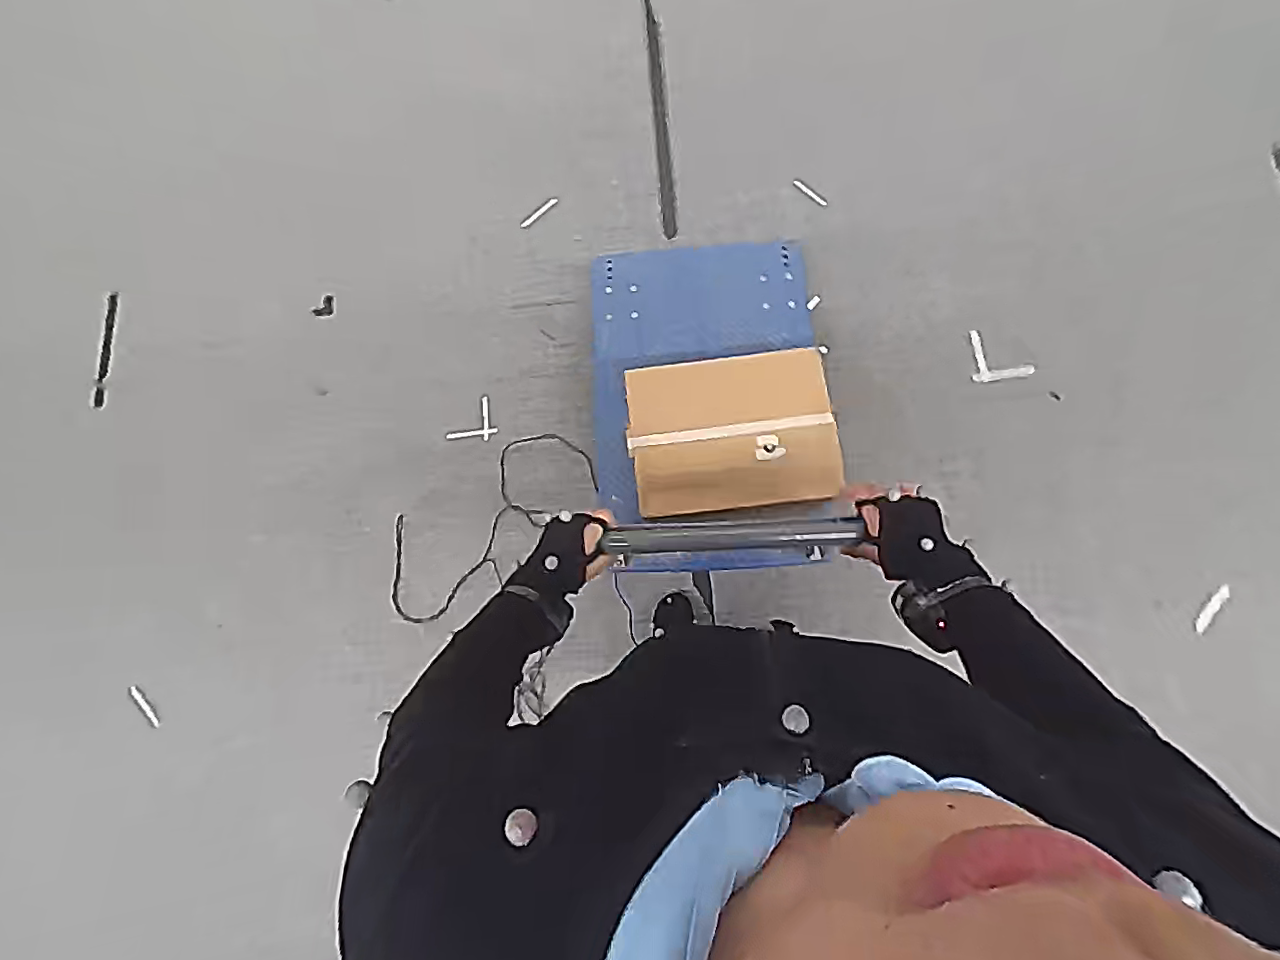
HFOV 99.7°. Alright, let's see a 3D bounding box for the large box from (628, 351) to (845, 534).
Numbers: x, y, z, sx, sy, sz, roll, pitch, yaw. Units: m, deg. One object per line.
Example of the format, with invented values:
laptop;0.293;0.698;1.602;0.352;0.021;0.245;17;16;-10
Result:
large box;0.195;-0.066;1.238;0.408;0.320;0.320;-7;80;1
